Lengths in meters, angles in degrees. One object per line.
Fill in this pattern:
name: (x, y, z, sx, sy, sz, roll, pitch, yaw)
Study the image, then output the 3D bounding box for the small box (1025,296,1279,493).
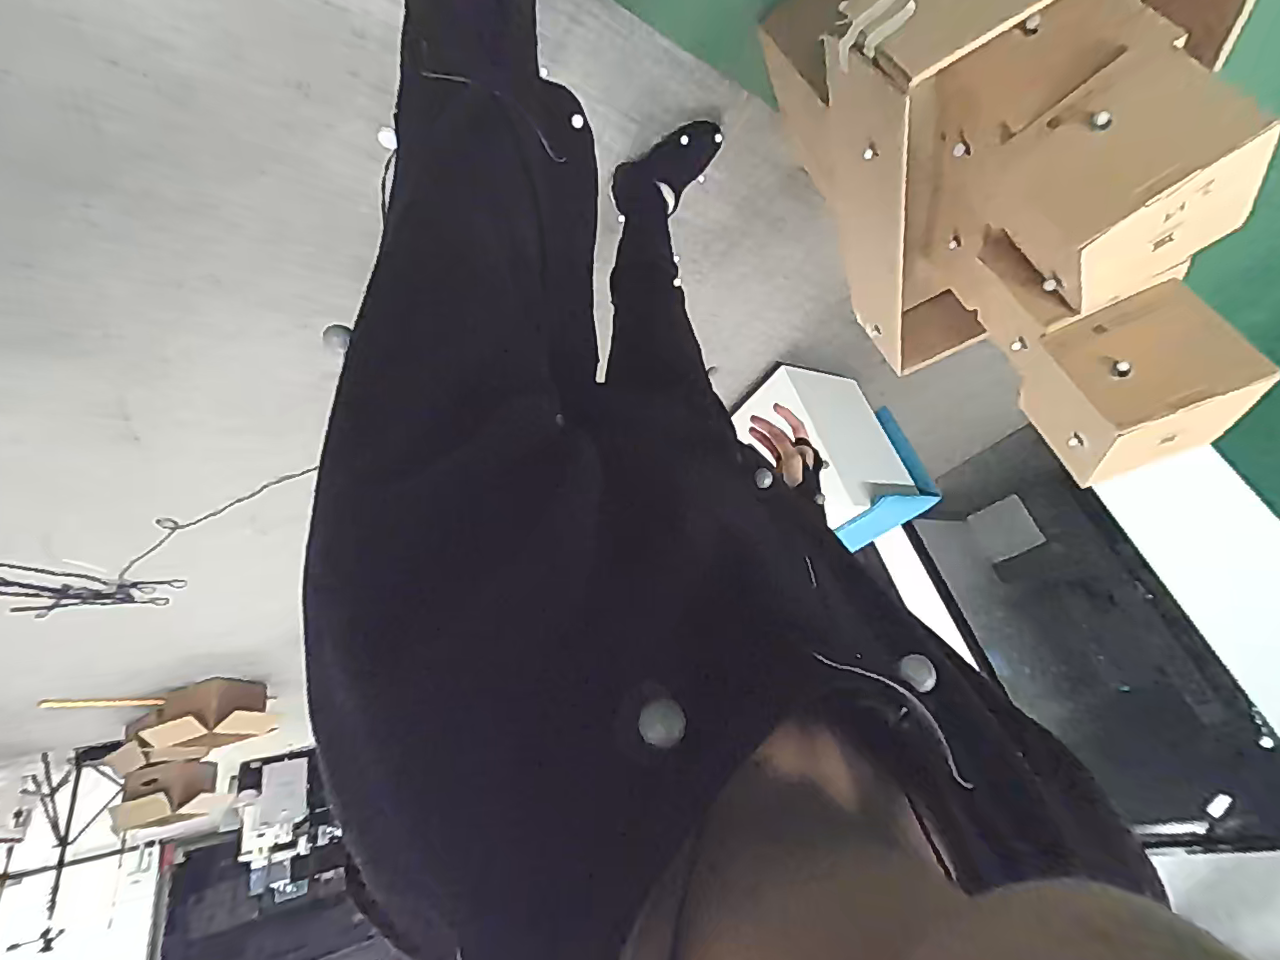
small box: (0.652, -0.115, 0.716, 0.168, 0.176, 0.179, -24, 148, 15)
